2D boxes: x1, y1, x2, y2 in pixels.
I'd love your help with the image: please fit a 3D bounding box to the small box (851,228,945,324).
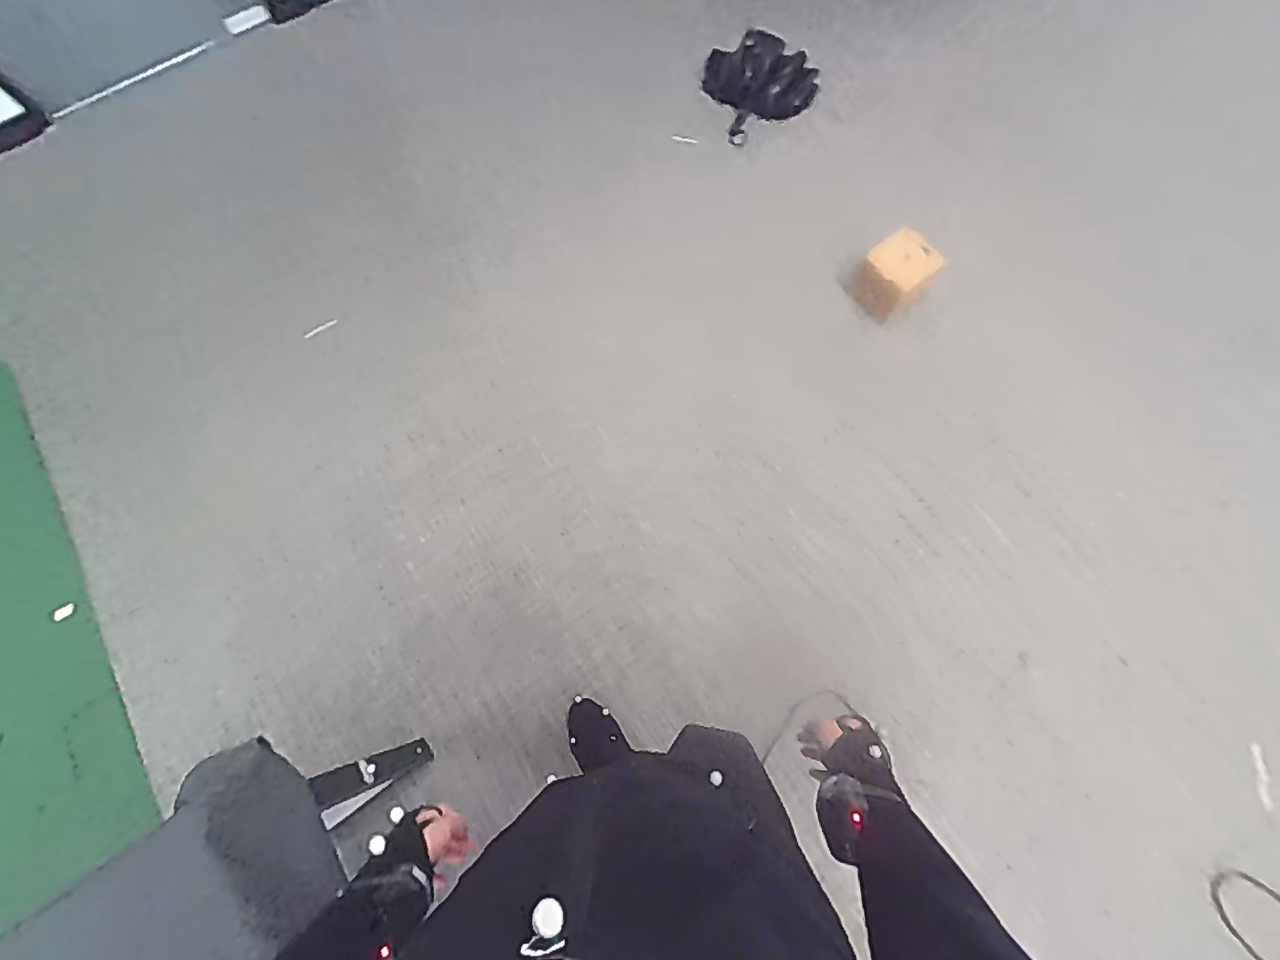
[{"bbox_3d":[0.768,-0.610,1.638,0.179,0.176,0.168,-36,74,-9],"label":"small box"}]
